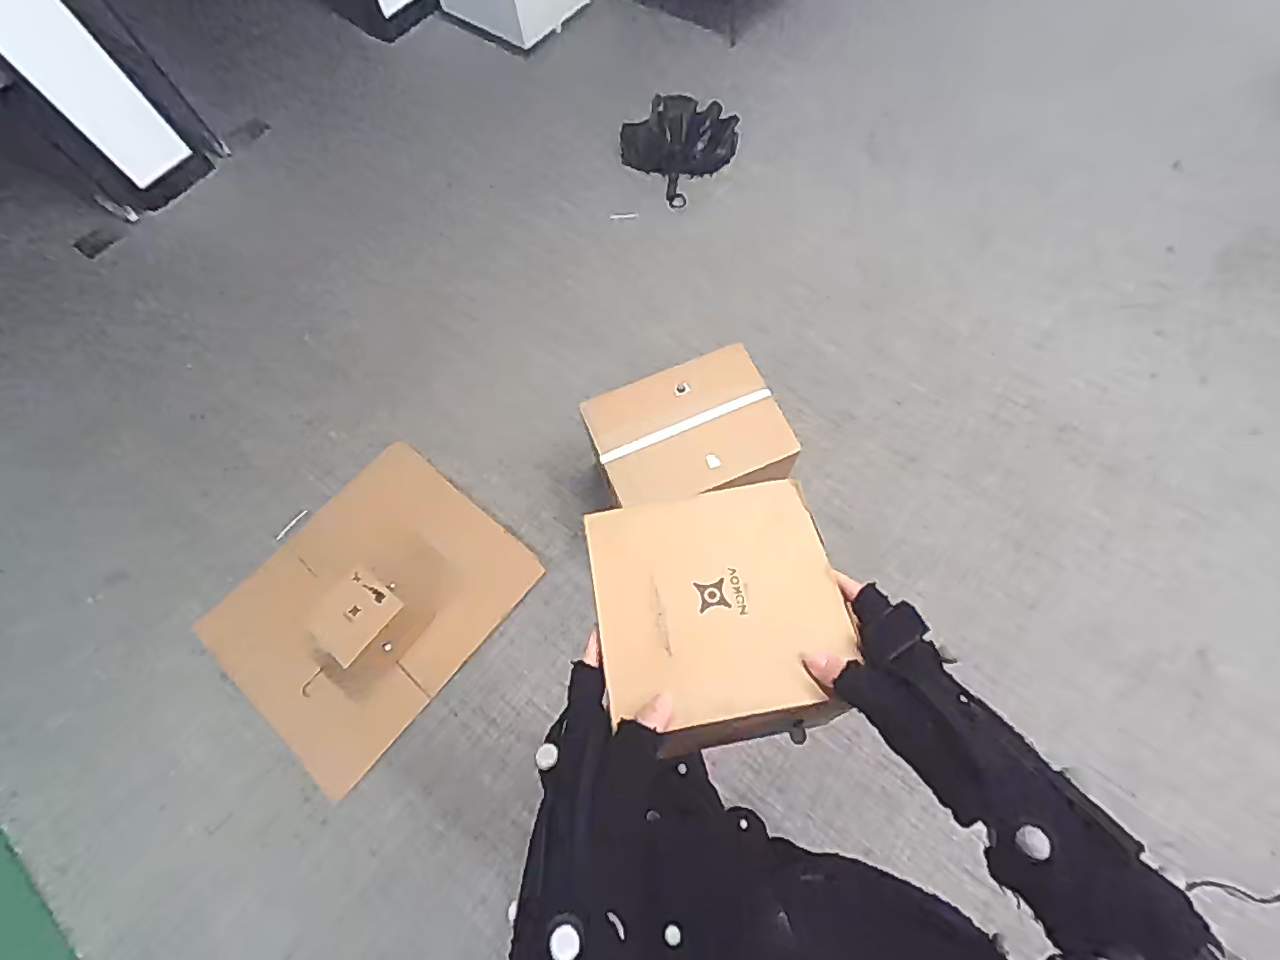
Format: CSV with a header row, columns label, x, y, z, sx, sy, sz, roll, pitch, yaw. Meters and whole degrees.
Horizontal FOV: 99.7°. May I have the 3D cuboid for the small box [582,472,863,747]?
label,x,y,z,sx,sy,sz,roll,pitch,yaw
small box,0.056,0.118,0.464,0.179,0.176,0.168,-12,57,-2

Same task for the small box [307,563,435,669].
label,x,y,z,sx,sy,sz,roll,pitch,yaw
small box,-0.625,0.329,1.281,0.168,0.176,0.179,31,74,18
